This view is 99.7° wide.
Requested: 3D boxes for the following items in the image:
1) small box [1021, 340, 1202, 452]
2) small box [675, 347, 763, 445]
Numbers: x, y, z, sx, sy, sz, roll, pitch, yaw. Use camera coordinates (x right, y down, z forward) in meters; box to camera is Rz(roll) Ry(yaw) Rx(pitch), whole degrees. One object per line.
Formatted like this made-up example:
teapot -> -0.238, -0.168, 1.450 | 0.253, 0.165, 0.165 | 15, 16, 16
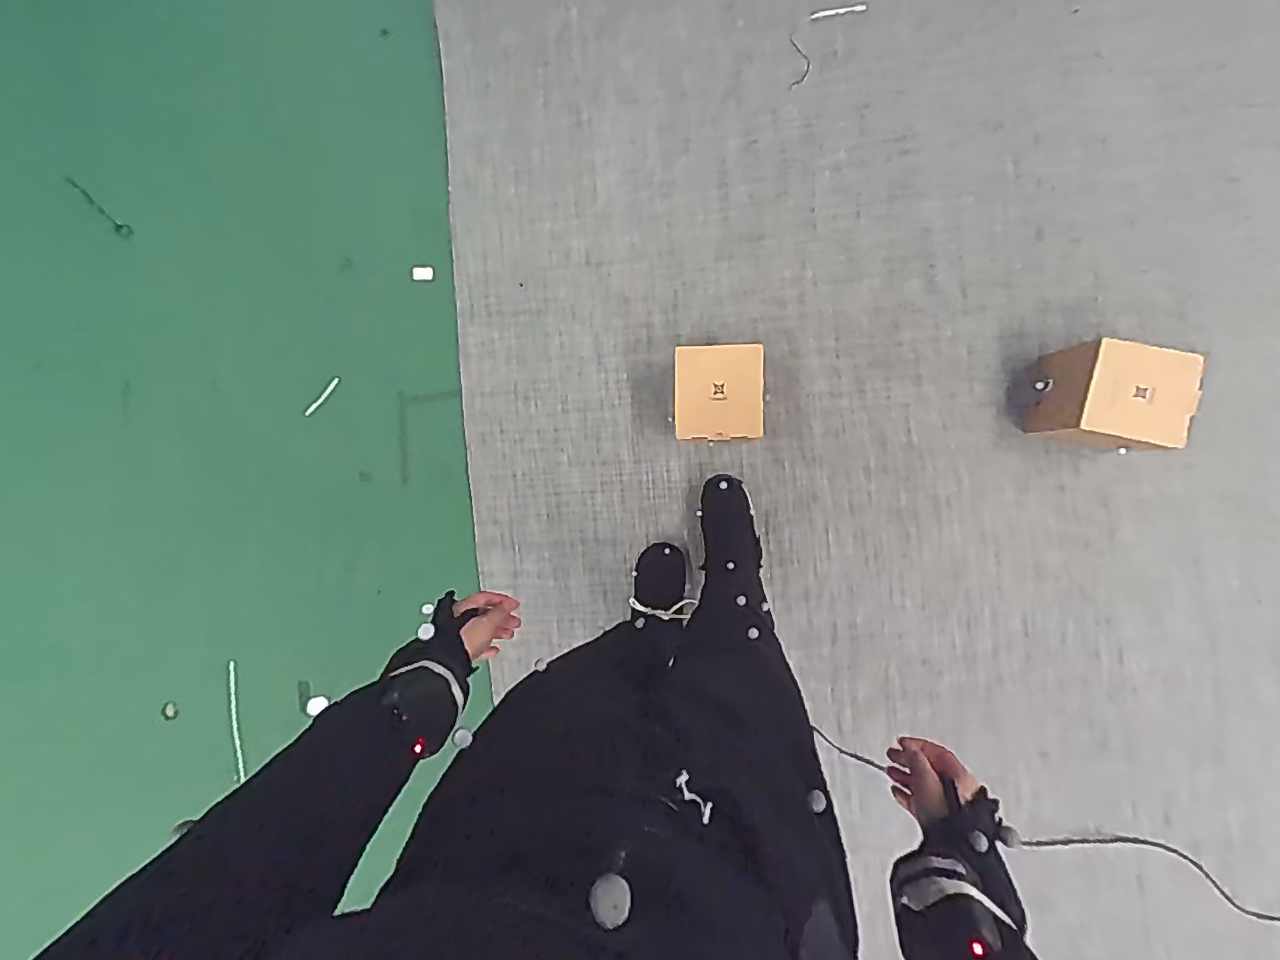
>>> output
small box -> 0.872, -0.149, 1.017 | 0.179, 0.176, 0.168 | 12, 92, 6
small box -> 0.155, -0.162, 1.091 | 0.168, 0.176, 0.179 | -1, 92, 6
